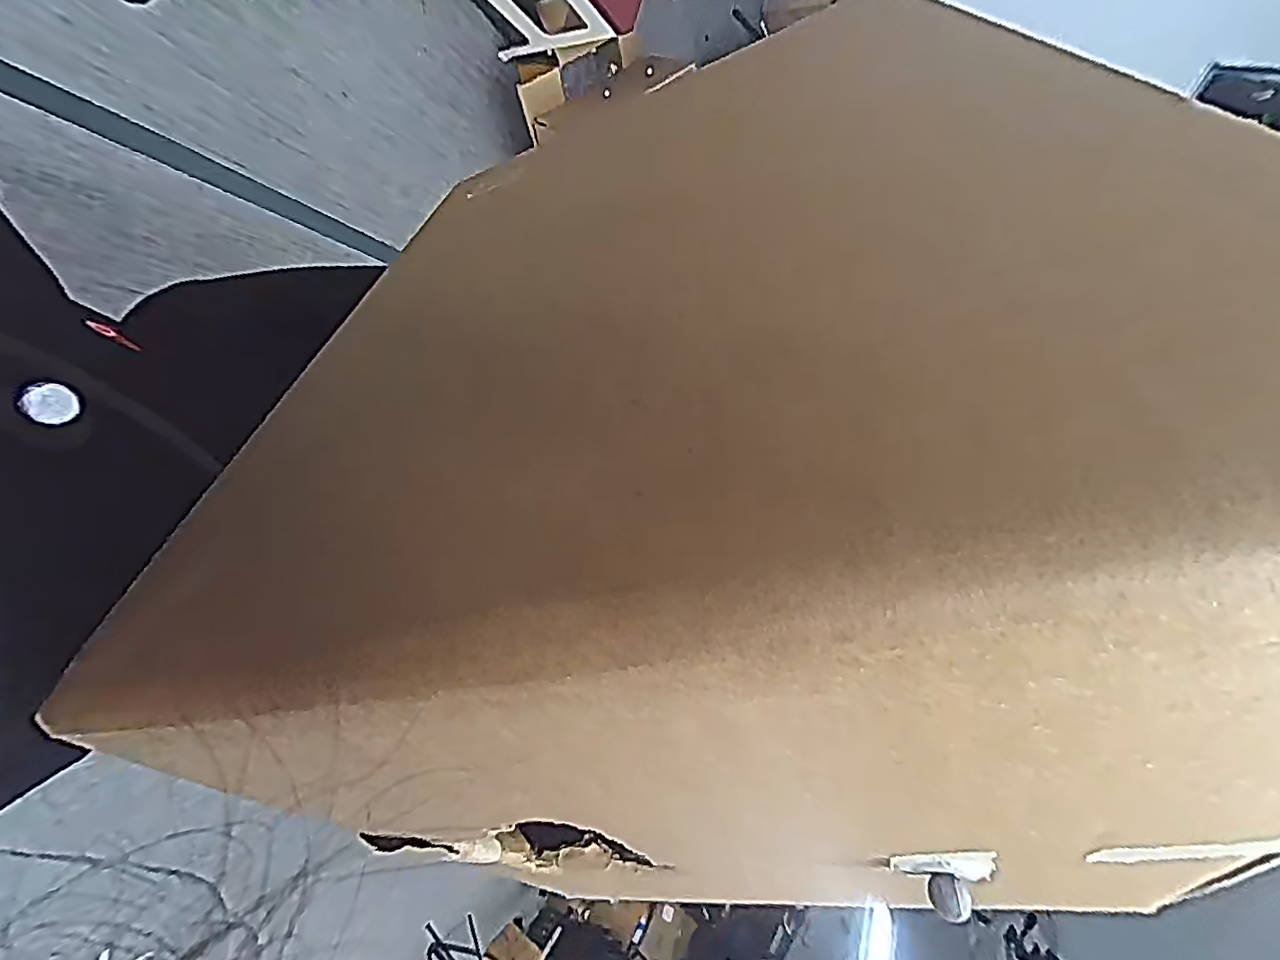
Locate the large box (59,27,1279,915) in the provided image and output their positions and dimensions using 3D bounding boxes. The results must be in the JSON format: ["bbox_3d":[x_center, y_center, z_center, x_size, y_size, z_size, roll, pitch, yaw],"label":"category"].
[{"bbox_3d":[0.042,-0.011,0.337,0.408,0.320,0.320,-84,155,-44],"label":"large box"}]
